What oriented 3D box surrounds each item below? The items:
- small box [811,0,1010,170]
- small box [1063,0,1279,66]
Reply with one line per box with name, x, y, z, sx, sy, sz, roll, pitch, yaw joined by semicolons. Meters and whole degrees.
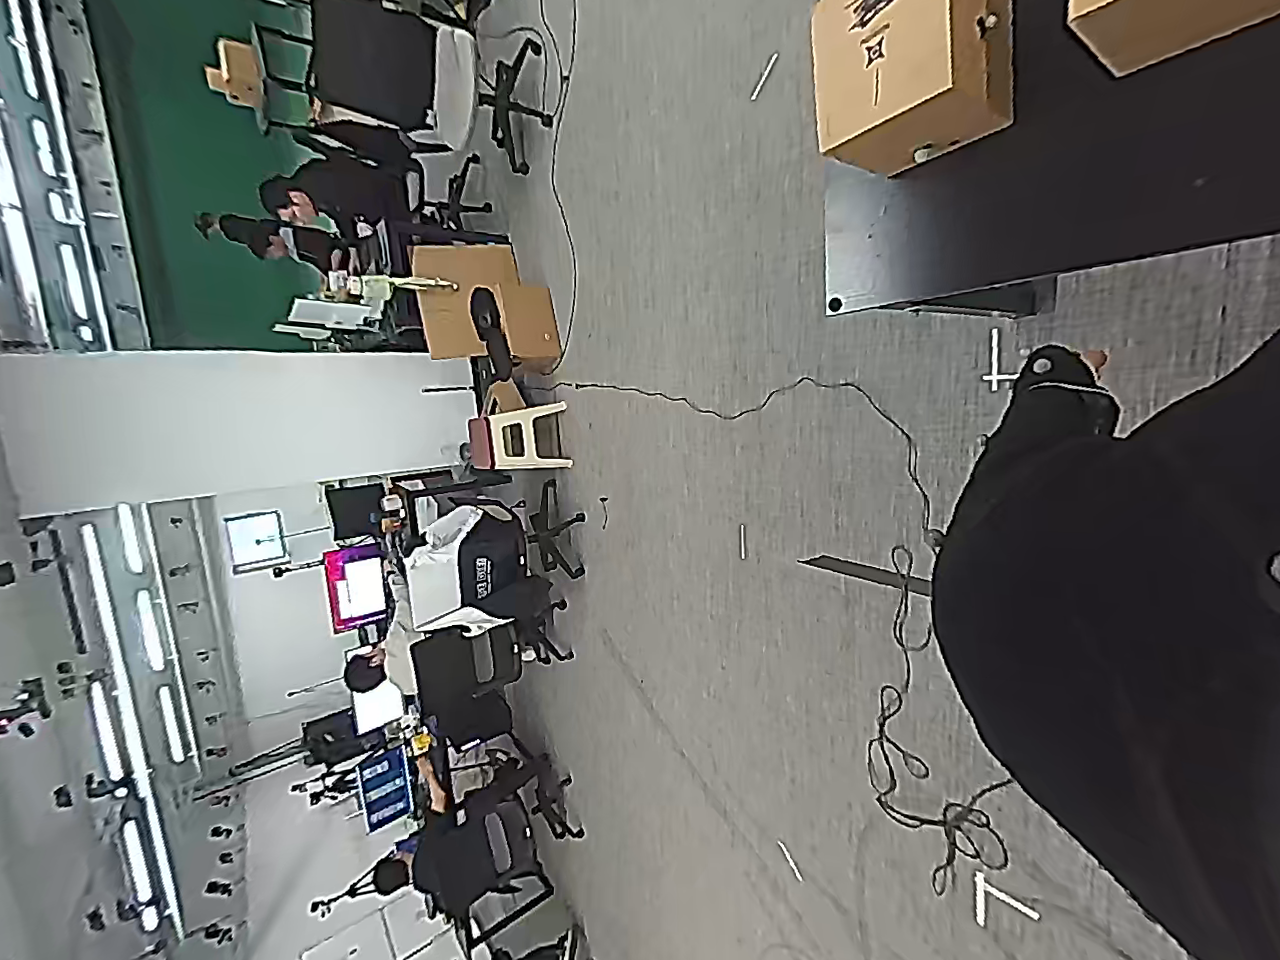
small box;0.336;-0.519;0.672;0.168;0.176;0.179;4;103;54
small box;0.494;-0.501;0.457;0.179;0.176;0.168;7;104;54
